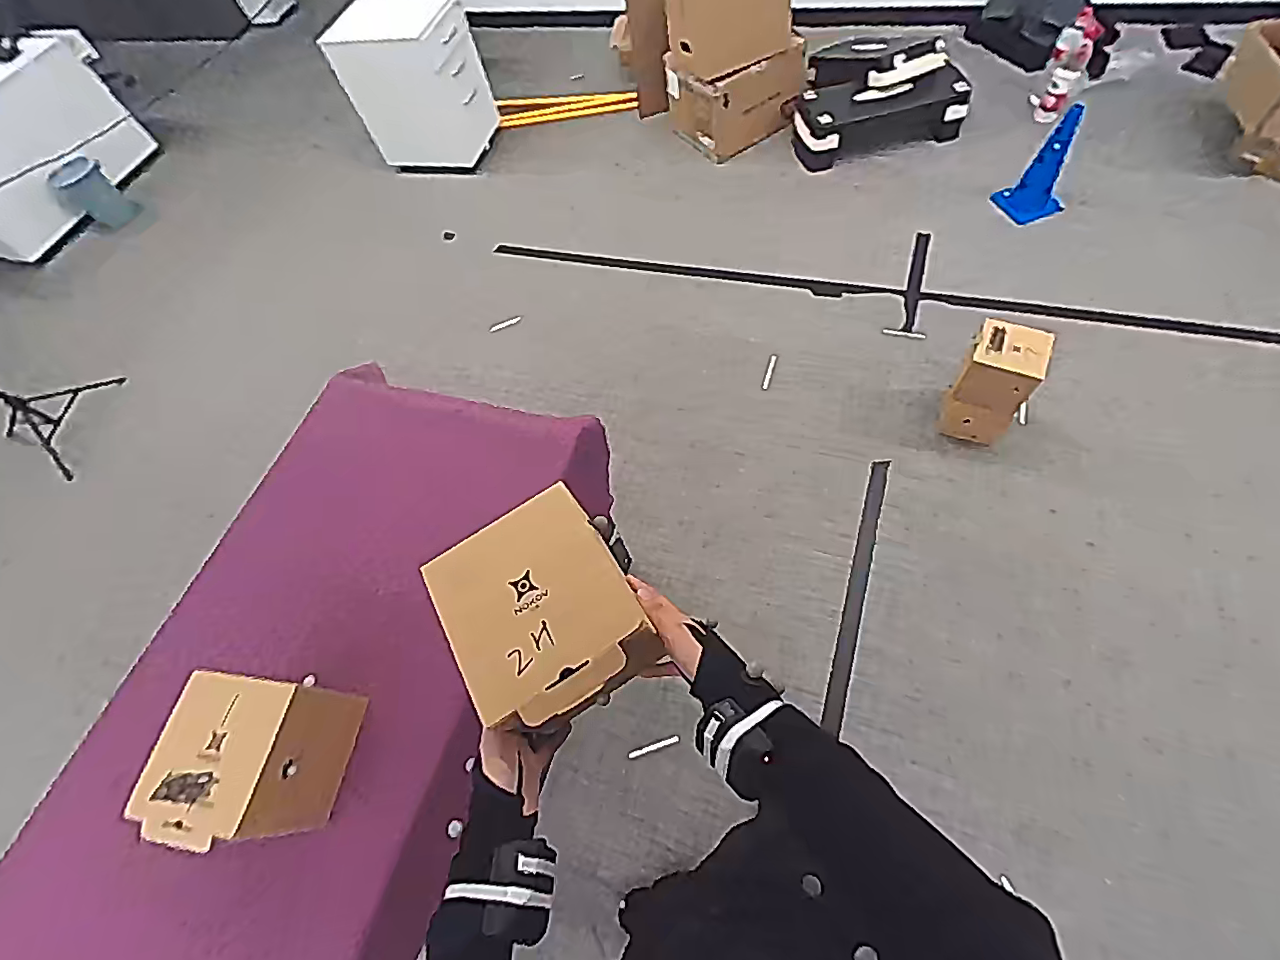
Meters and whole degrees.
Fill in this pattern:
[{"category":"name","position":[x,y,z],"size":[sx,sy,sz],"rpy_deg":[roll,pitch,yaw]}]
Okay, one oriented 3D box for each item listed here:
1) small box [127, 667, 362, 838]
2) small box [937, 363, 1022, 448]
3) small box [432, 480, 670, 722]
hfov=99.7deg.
[{"category":"small box","position":[-0.529,0.376,0.756],"size":[0.168,0.176,0.179],"rpy_deg":[4,62,11]},{"category":"small box","position":[1.035,-0.224,1.660],"size":[0.168,0.176,0.179],"rpy_deg":[18,66,17]},{"category":"small box","position":[-0.085,0.137,0.577],"size":[0.168,0.176,0.179],"rpy_deg":[-31,63,-5]}]
